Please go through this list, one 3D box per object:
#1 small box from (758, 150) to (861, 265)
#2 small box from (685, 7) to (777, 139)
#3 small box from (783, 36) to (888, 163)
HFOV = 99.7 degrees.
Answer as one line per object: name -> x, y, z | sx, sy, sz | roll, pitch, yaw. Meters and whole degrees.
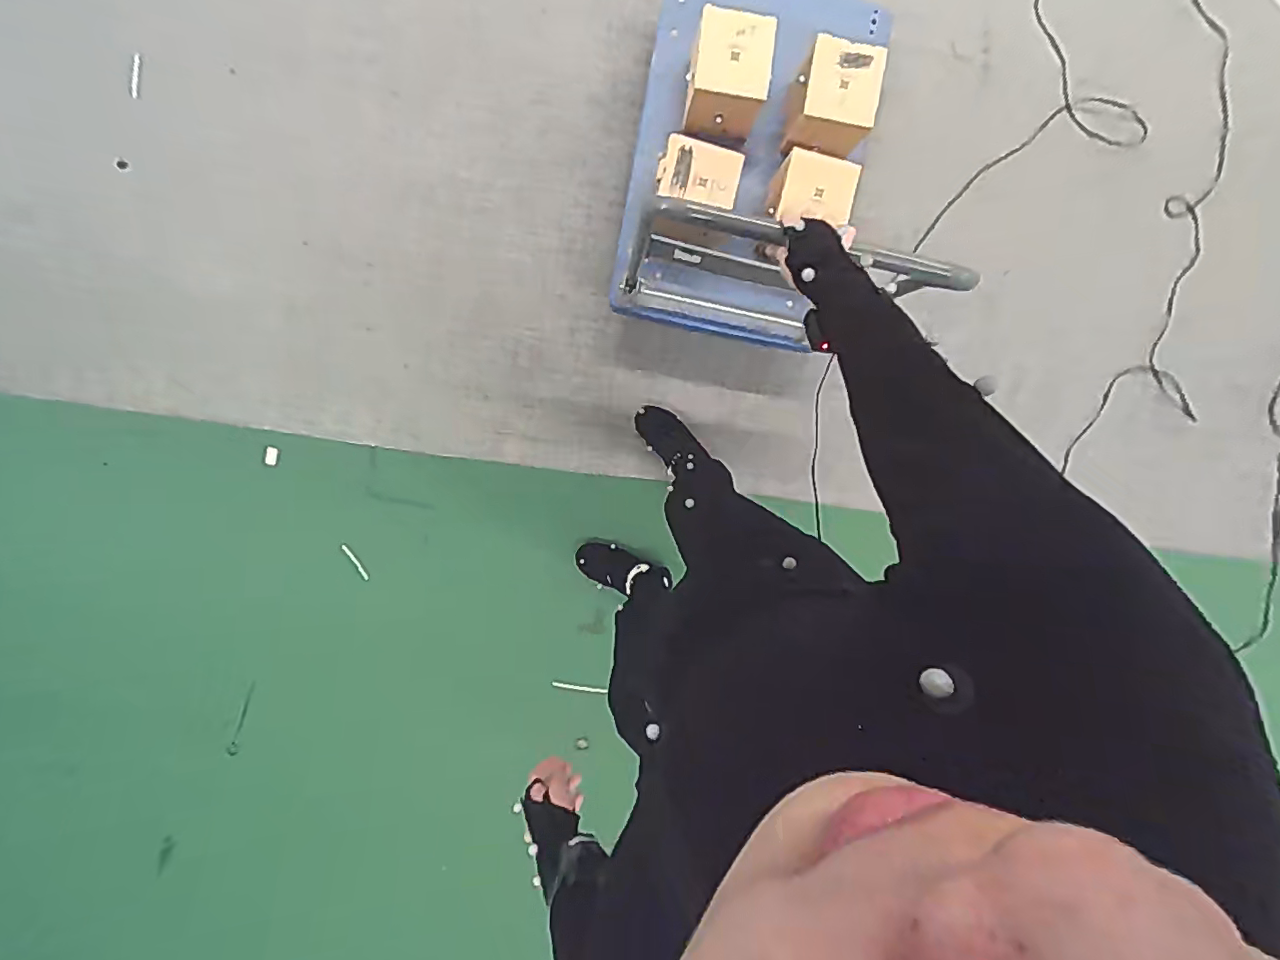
small box -> 0.397, -0.645, 1.300 | 0.168, 0.176, 0.179 | 13, 95, -5
small box -> 0.203, -0.933, 1.259 | 0.168, 0.176, 0.179 | 7, 95, -5
small box -> 0.453, -0.886, 1.280 | 0.168, 0.176, 0.179 | 9, 95, -4
